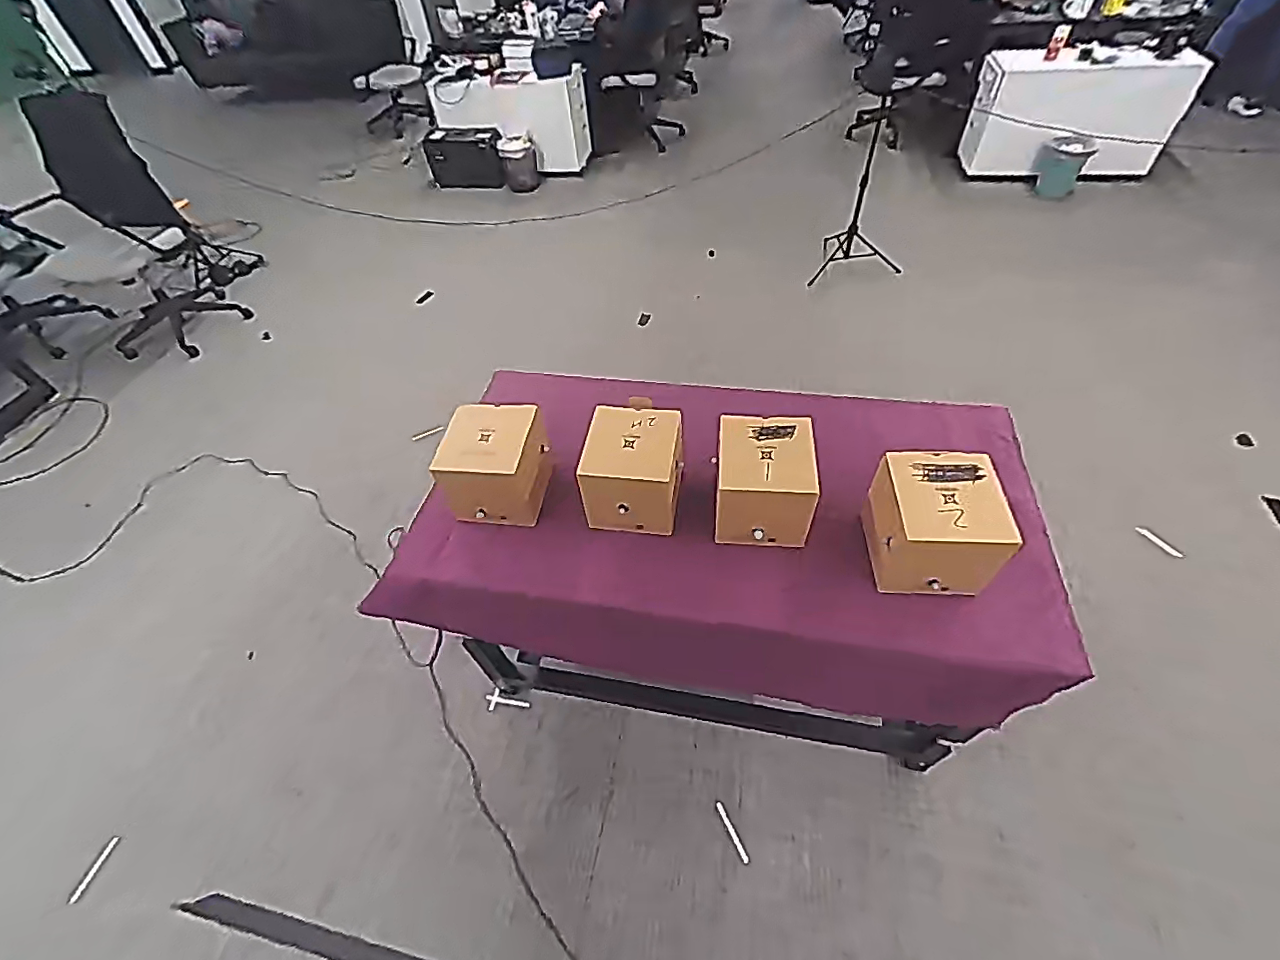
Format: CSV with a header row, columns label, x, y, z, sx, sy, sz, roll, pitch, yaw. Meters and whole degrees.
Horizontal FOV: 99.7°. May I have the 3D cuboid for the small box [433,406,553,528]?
label,x,y,z,sx,sy,sz,roll,pitch,yaw
small box,-0.282,-0.027,1.086,0.168,0.176,0.179,3,50,8

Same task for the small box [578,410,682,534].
label,x,y,z,sx,sy,sz,roll,pitch,yaw
small box,-0.010,-0.013,1.051,0.168,0.176,0.179,5,50,9

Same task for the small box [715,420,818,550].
label,x,y,z,sx,sy,sz,roll,pitch,yaw
small box,0.228,0.009,1.013,0.168,0.176,0.179,2,51,7
